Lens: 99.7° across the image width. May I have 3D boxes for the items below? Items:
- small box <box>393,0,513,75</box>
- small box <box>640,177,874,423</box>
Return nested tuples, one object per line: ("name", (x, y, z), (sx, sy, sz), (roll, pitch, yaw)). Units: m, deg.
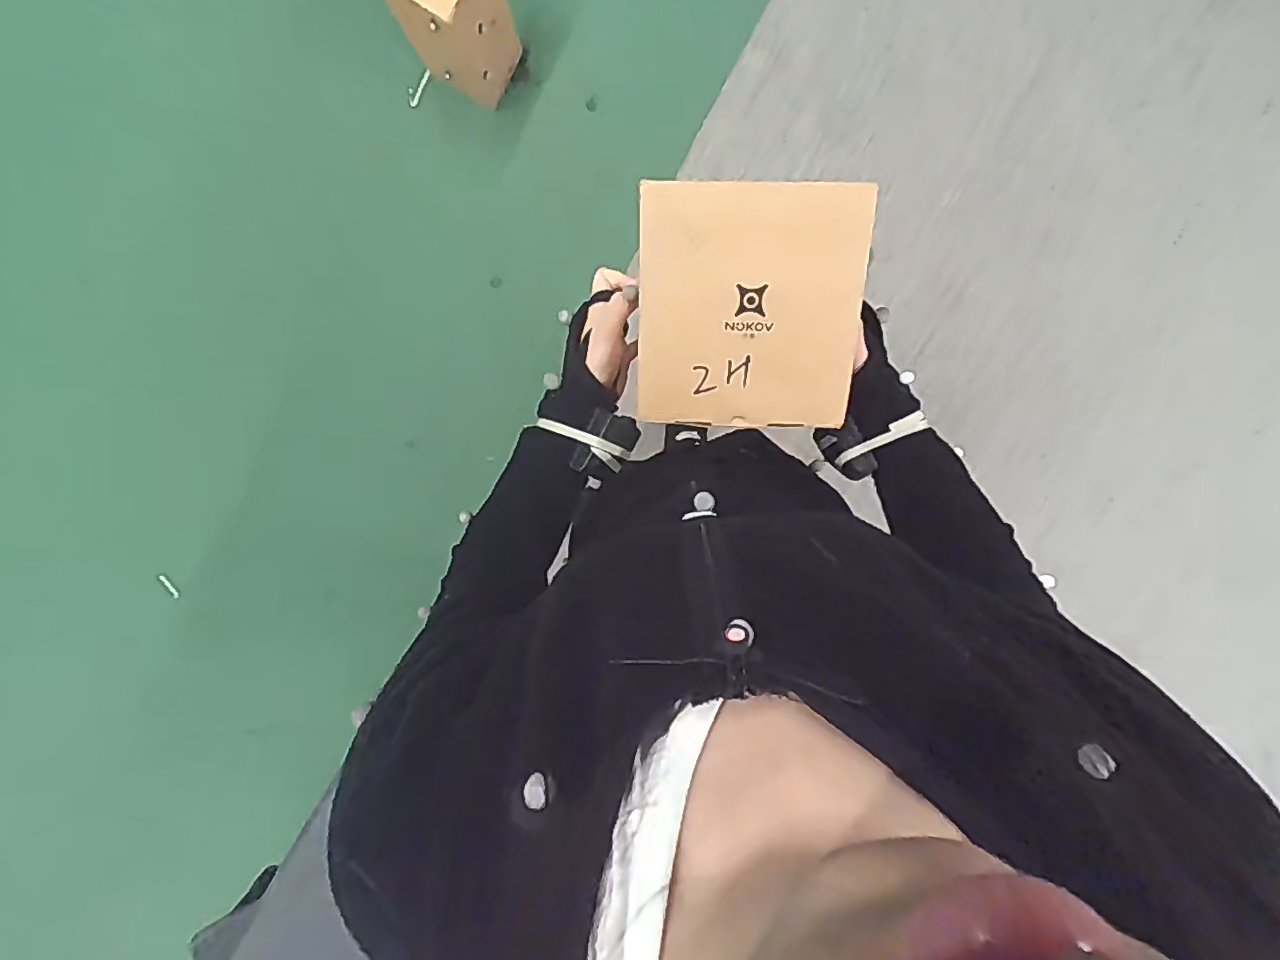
("small box", (-0.388, -0.990, 1.110), (0.179, 0.176, 0.168), (29, 97, -4))
("small box", (0.087, -0.156, 0.482), (0.168, 0.176, 0.179), (2, 110, 4))
